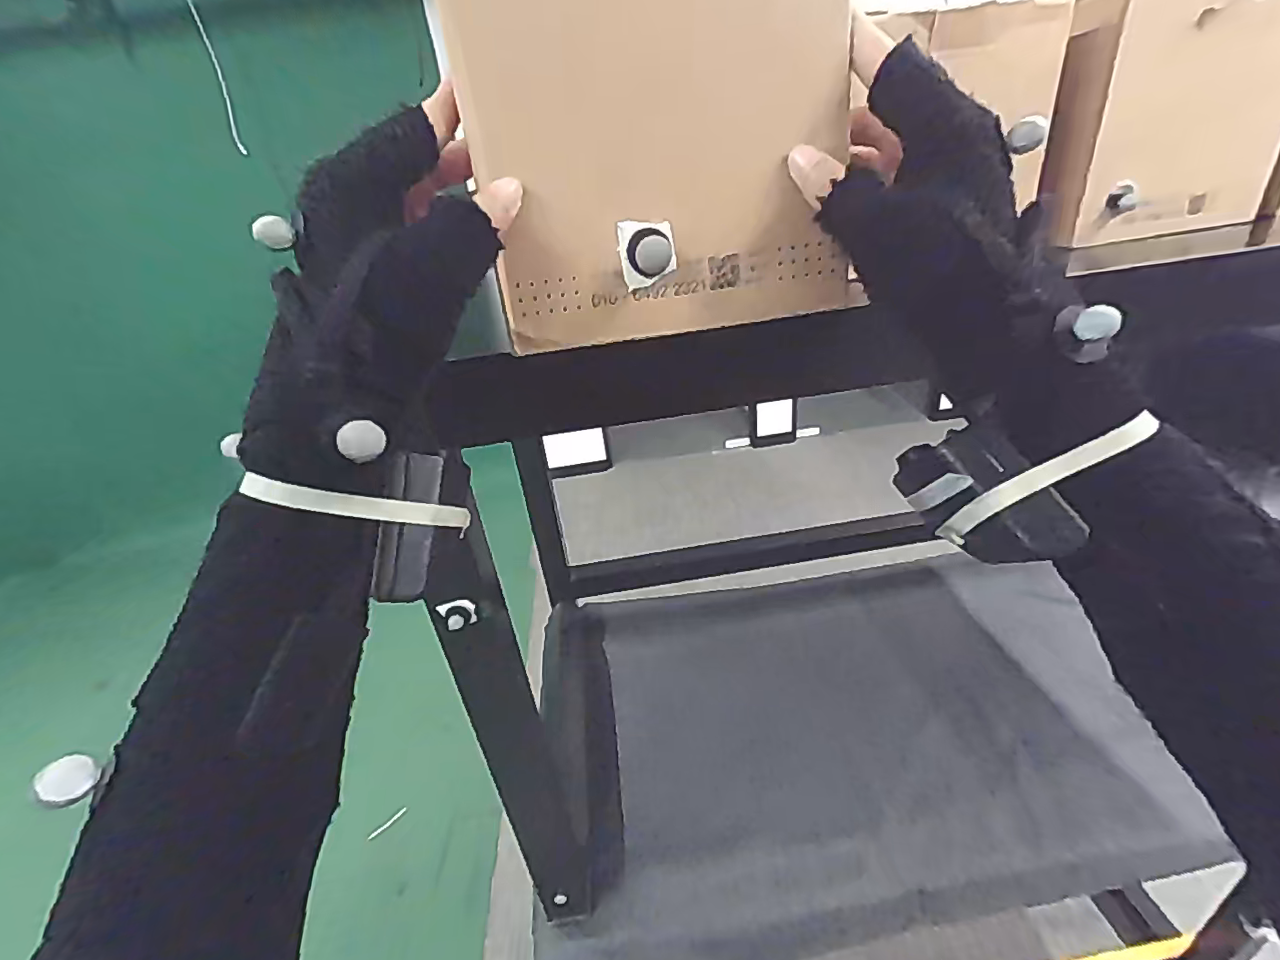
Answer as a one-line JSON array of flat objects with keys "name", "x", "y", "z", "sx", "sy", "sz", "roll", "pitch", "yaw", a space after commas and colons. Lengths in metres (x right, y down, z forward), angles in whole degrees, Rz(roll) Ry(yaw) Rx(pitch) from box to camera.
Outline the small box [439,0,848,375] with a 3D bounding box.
[{"name": "small box", "x": 0.002, "y": -0.165, "z": 0.312, "sx": 0.168, "sy": 0.176, "sz": 0.179, "roll": -11, "pitch": 23, "yaw": -3}]
